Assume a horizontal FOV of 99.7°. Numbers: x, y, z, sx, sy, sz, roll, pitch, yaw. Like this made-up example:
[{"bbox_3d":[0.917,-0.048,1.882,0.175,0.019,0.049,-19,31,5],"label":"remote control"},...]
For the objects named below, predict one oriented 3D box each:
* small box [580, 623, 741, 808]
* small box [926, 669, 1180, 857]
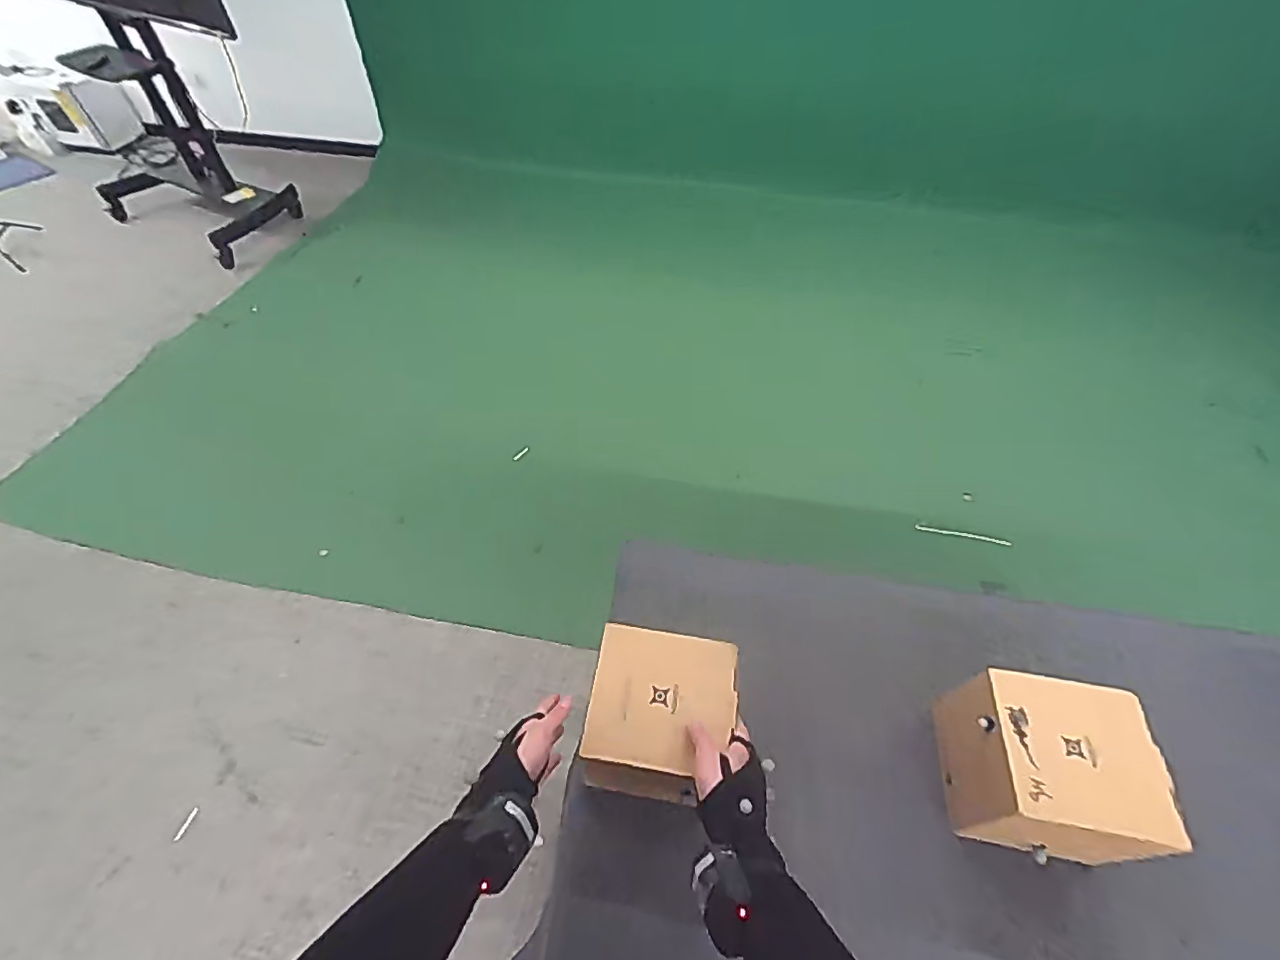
[{"bbox_3d":[0.025,0.308,0.699,0.179,0.176,0.168,8,49,3],"label":"small box"},{"bbox_3d":[0.503,0.367,0.694,0.179,0.176,0.168,11,51,3],"label":"small box"}]
